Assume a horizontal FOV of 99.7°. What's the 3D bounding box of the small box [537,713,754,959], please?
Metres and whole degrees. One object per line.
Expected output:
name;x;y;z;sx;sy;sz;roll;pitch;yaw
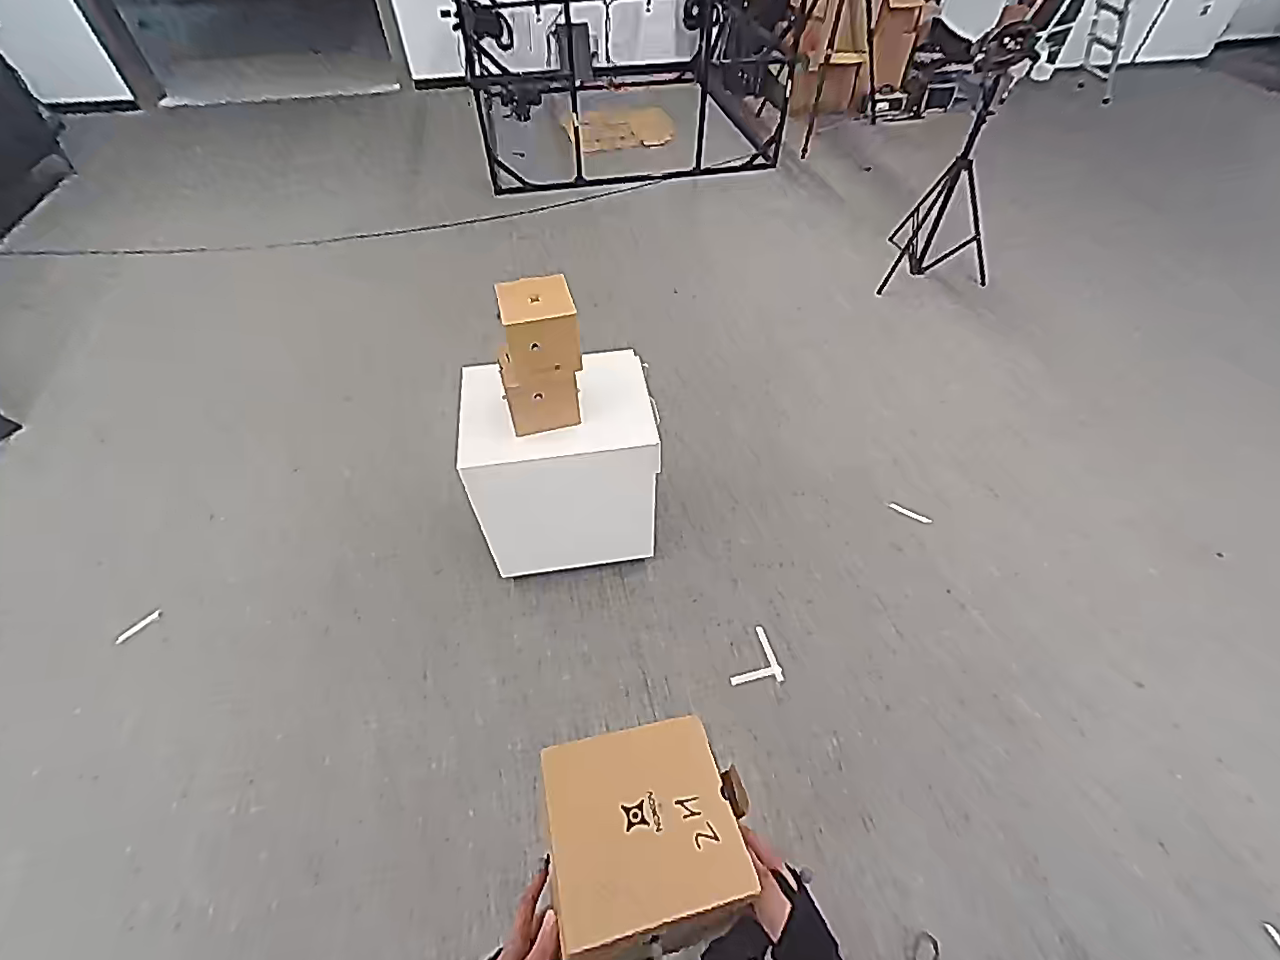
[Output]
small box;-0.009;0.376;0.561;0.179;0.176;0.168;-5;41;-16

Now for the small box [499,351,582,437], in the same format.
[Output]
small box;-0.257;-0.231;1.411;0.179;0.176;0.168;-12;52;-11

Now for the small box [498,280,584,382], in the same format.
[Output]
small box;-0.236;-0.351;1.300;0.168;0.176;0.179;-12;51;-10
